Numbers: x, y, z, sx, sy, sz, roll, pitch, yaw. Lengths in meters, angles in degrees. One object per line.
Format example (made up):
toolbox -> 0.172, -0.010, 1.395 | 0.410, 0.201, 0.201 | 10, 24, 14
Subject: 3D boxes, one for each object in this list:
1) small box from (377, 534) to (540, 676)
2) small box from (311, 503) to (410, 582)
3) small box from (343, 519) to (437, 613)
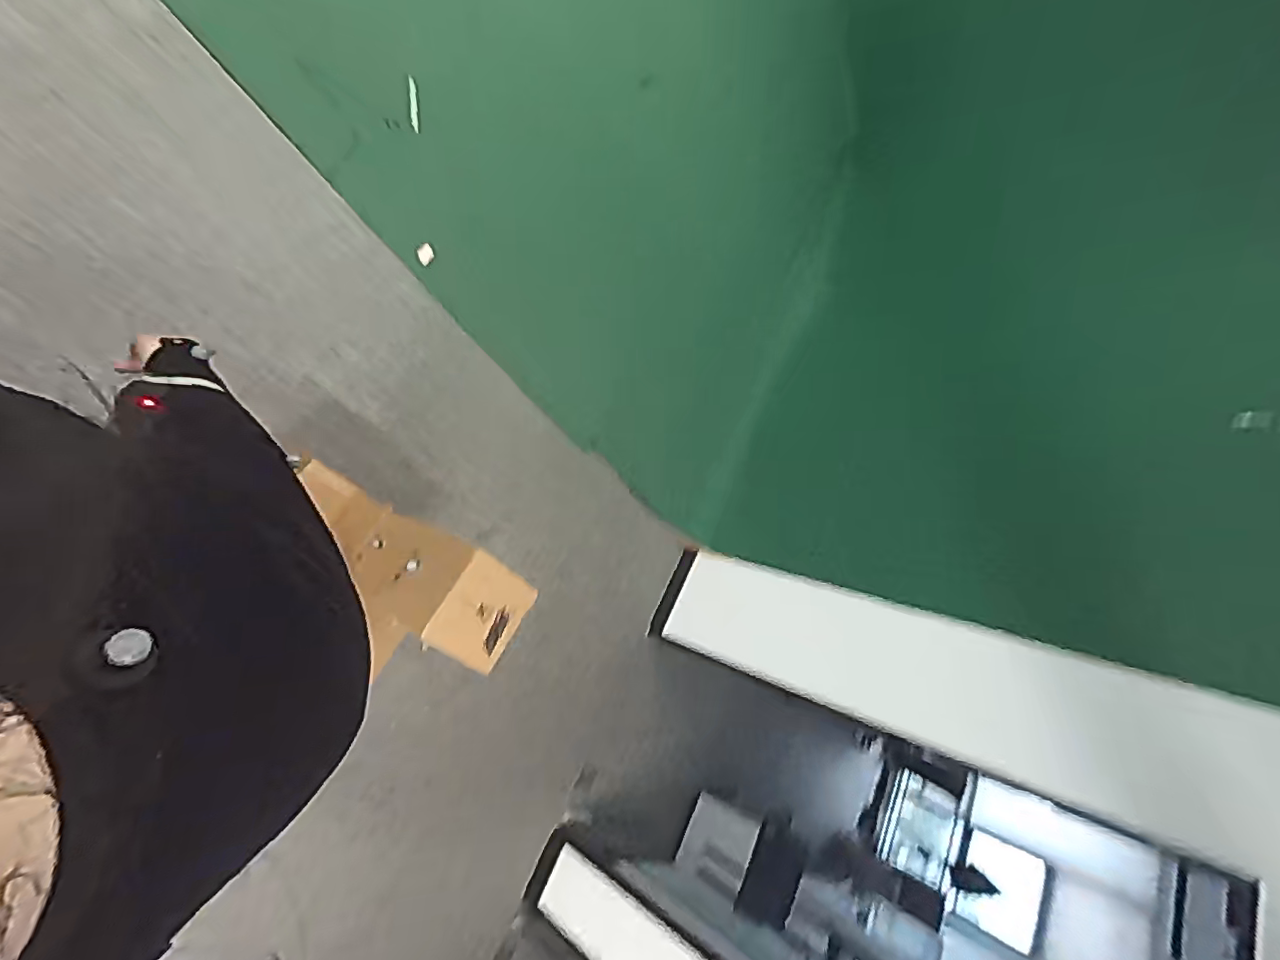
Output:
small box -> -0.319, 0.215, 0.961 | 0.168, 0.176, 0.179 | -59, 137, -23
small box -> -0.565, 0.164, 1.171 | 0.168, 0.176, 0.179 | -59, 139, -22
small box -> -0.439, 0.196, 1.071 | 0.168, 0.176, 0.179 | -59, 137, -22
